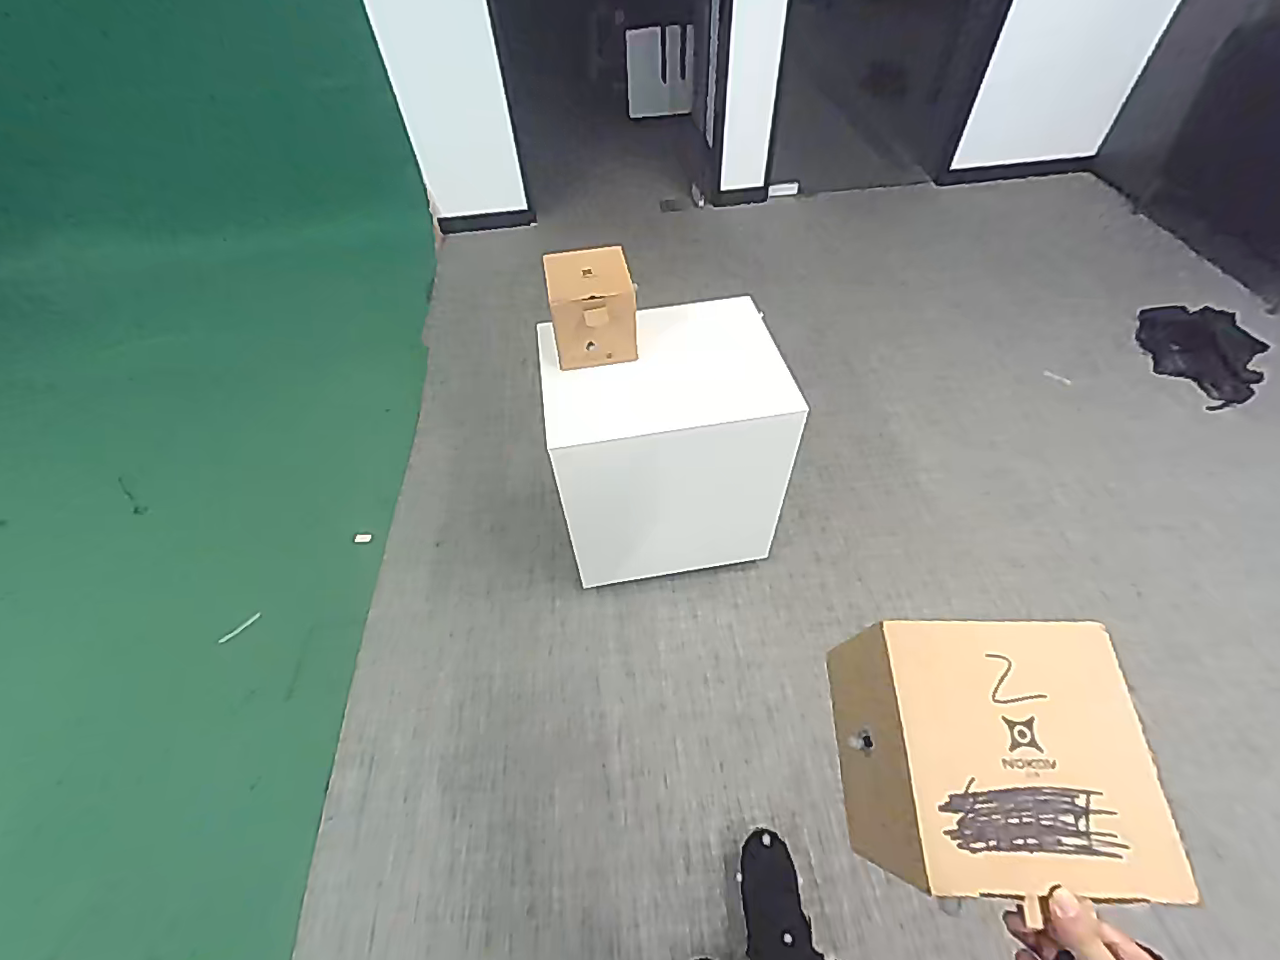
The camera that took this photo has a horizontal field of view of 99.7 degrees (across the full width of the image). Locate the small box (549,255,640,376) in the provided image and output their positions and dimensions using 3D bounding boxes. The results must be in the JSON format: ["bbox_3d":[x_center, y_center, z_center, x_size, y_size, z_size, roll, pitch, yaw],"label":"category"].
[{"bbox_3d":[-0.094,-0.345,1.136,0.168,0.176,0.179,-9,53,-5],"label":"small box"}]
